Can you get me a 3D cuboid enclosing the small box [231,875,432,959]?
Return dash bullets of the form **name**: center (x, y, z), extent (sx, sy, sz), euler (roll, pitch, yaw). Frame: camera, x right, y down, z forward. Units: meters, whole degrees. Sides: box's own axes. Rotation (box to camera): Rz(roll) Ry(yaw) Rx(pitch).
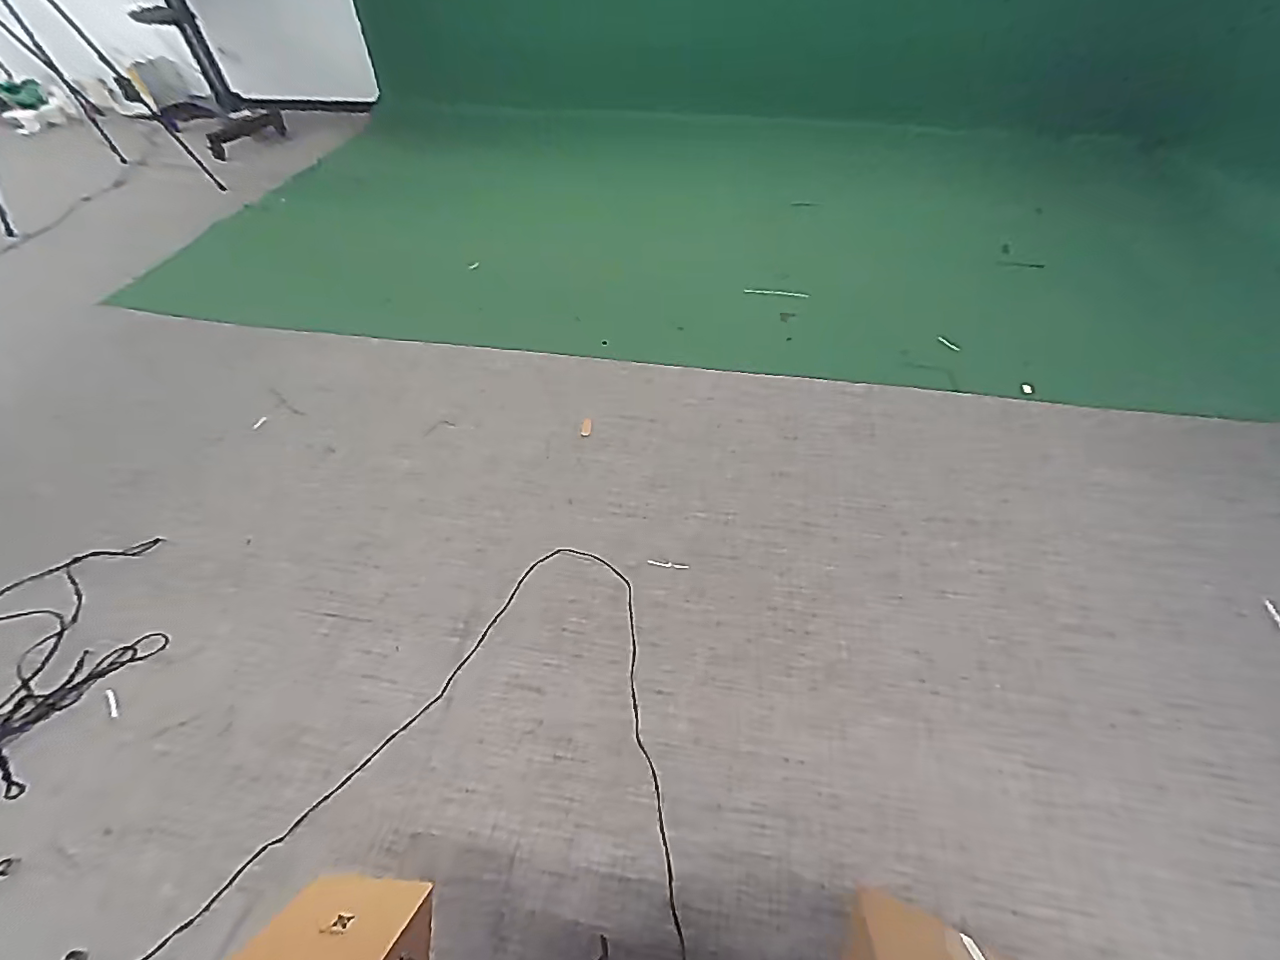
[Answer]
- **small box**: center (-0.374, 0.627, 0.656), extent (0.168, 0.179, 0.176), euler (2, 84, 3)
